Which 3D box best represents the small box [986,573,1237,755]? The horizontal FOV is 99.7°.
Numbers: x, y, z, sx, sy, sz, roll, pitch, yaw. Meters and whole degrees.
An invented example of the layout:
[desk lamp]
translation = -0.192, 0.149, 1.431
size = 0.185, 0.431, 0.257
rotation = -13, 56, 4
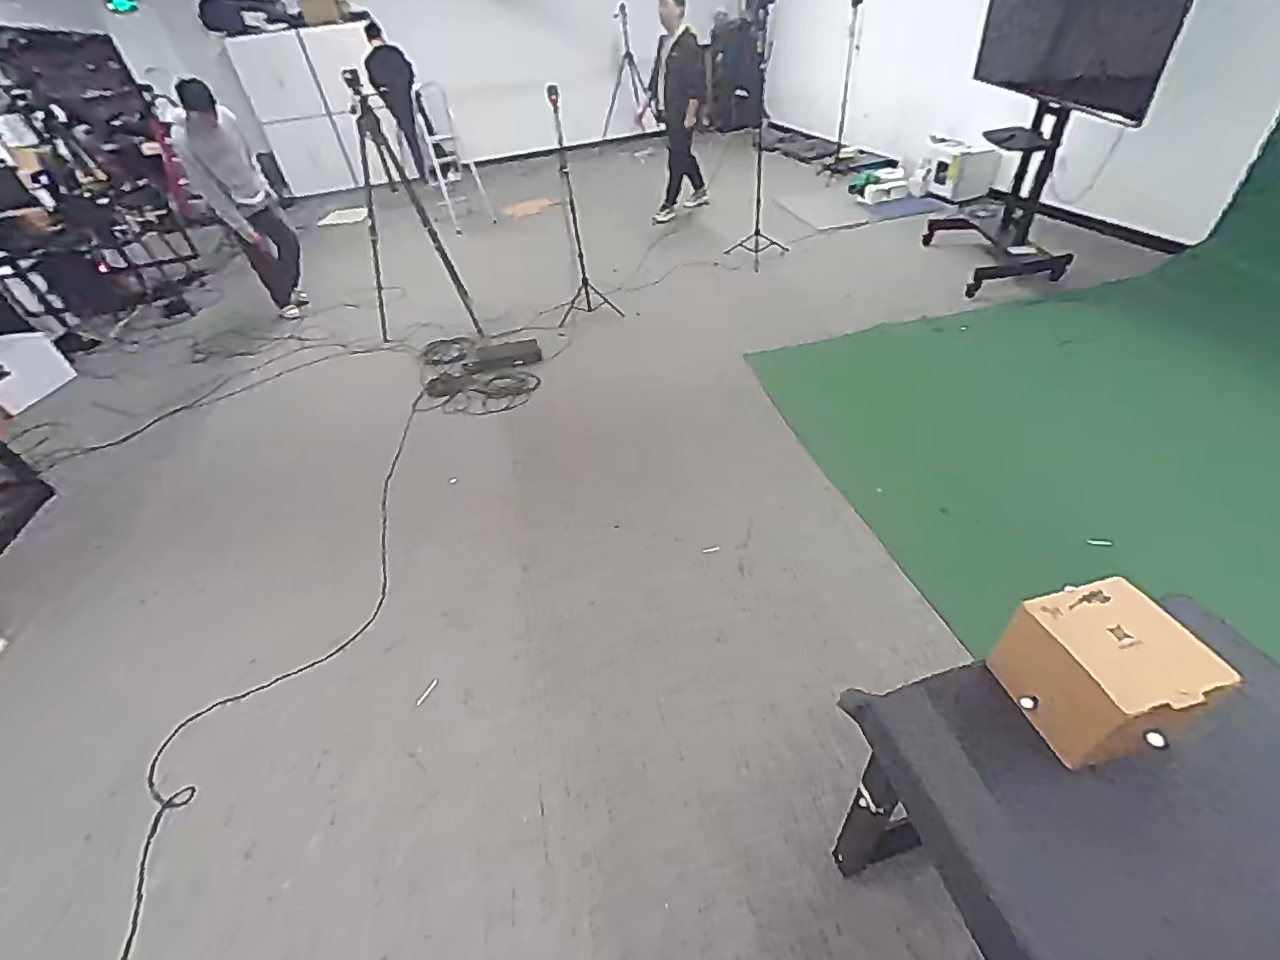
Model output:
[small box]
translation = 0.644, 0.266, 0.768
size = 0.168, 0.176, 0.179
rotation = -13, 42, -6
